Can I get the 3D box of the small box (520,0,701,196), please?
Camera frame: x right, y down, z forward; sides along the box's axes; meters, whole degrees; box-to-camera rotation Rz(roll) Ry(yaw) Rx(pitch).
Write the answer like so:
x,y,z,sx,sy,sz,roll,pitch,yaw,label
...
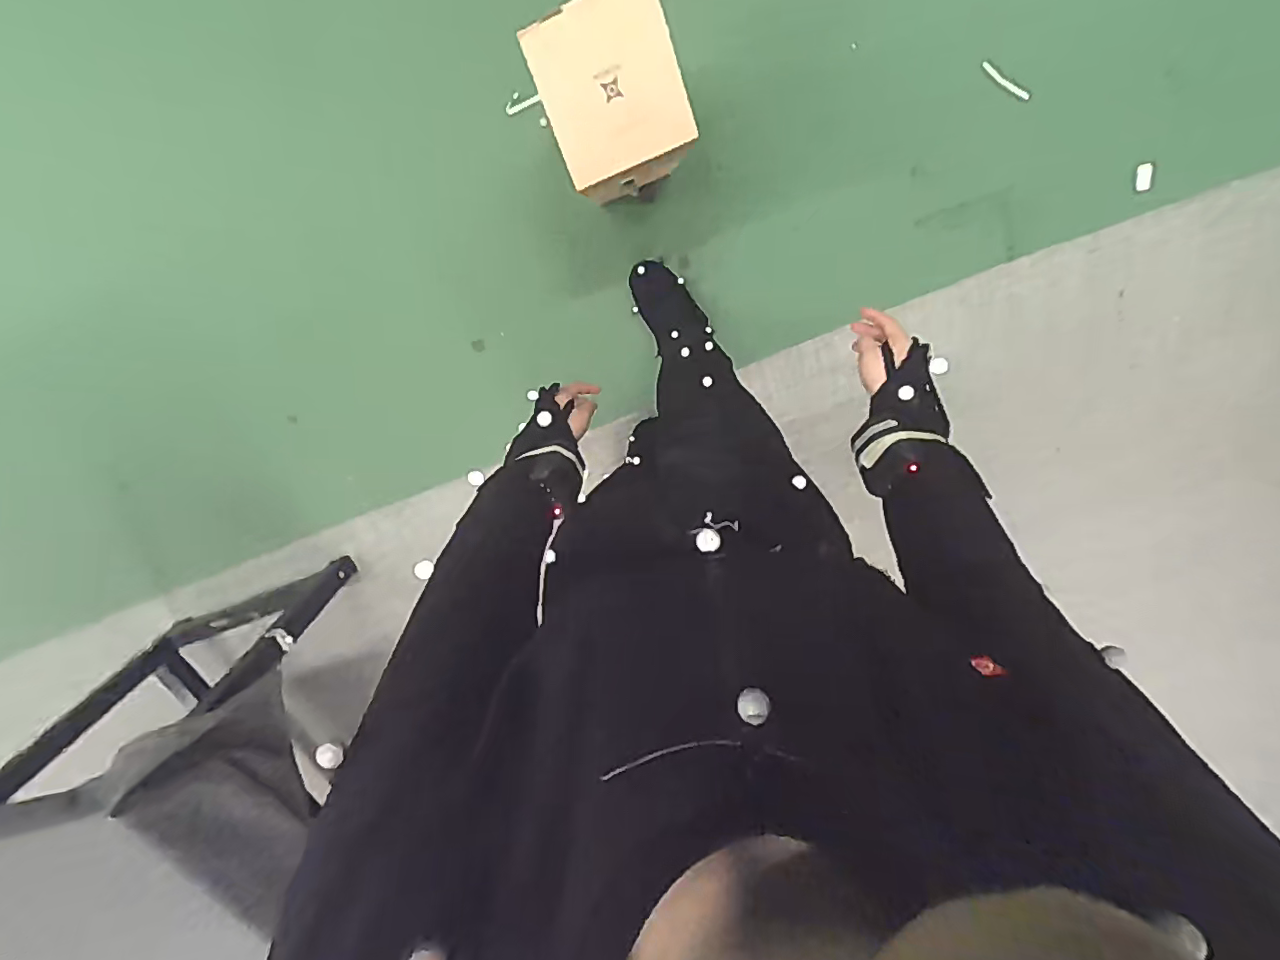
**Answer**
x,y,z,sx,sy,sz,roll,pitch,yaw,label
-0.032,-0.496,0.705,0.168,0.176,0.179,-21,113,9,small box
